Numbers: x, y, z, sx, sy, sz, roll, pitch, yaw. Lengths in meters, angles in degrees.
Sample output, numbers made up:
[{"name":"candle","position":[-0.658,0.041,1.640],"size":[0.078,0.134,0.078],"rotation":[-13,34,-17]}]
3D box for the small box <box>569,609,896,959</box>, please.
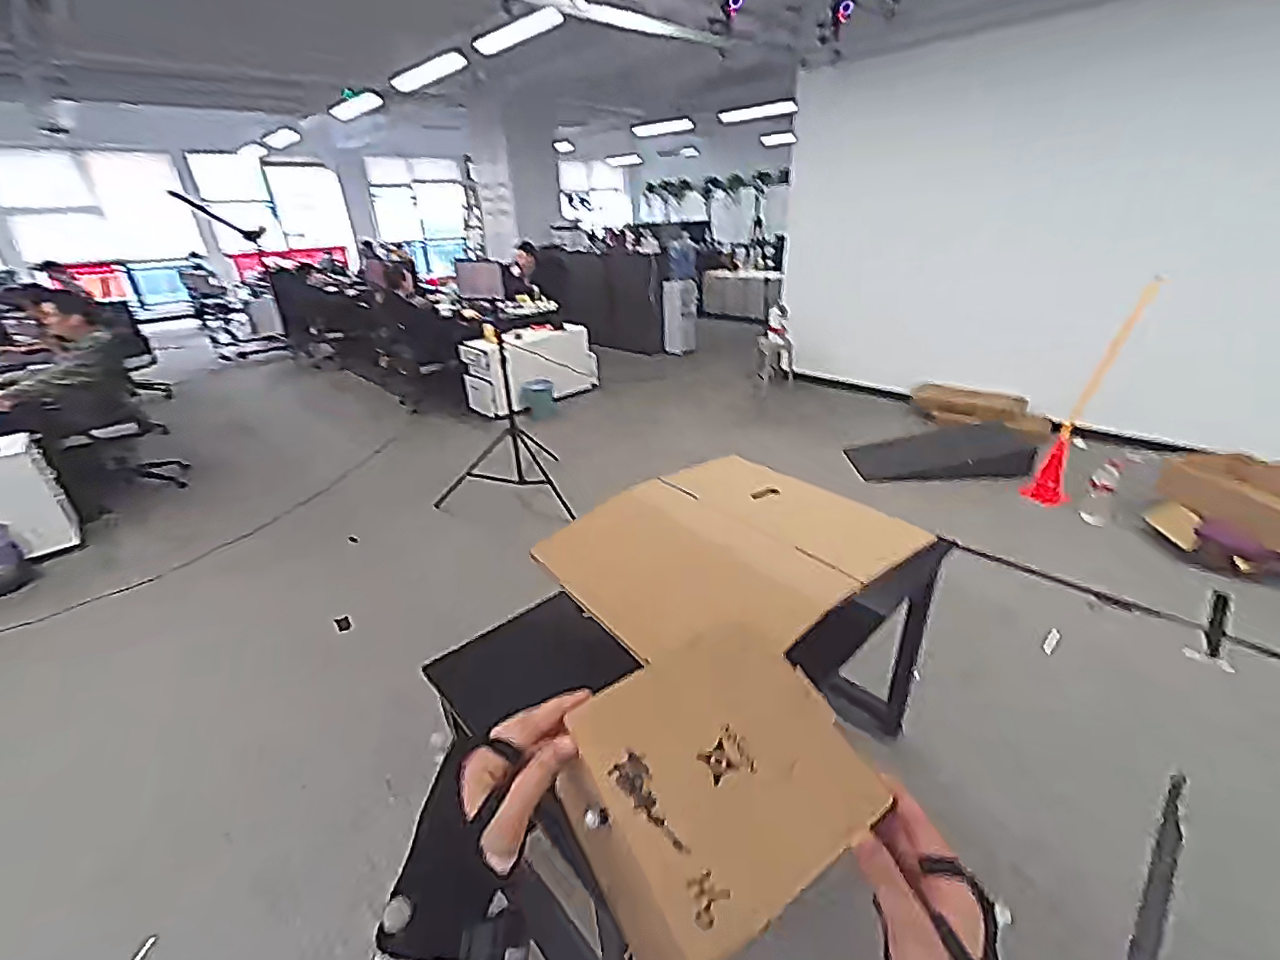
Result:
[{"name":"small box","position":[0.056,0.242,0.439],"size":[0.179,0.176,0.168],"rotation":[-20,53,-28]}]
